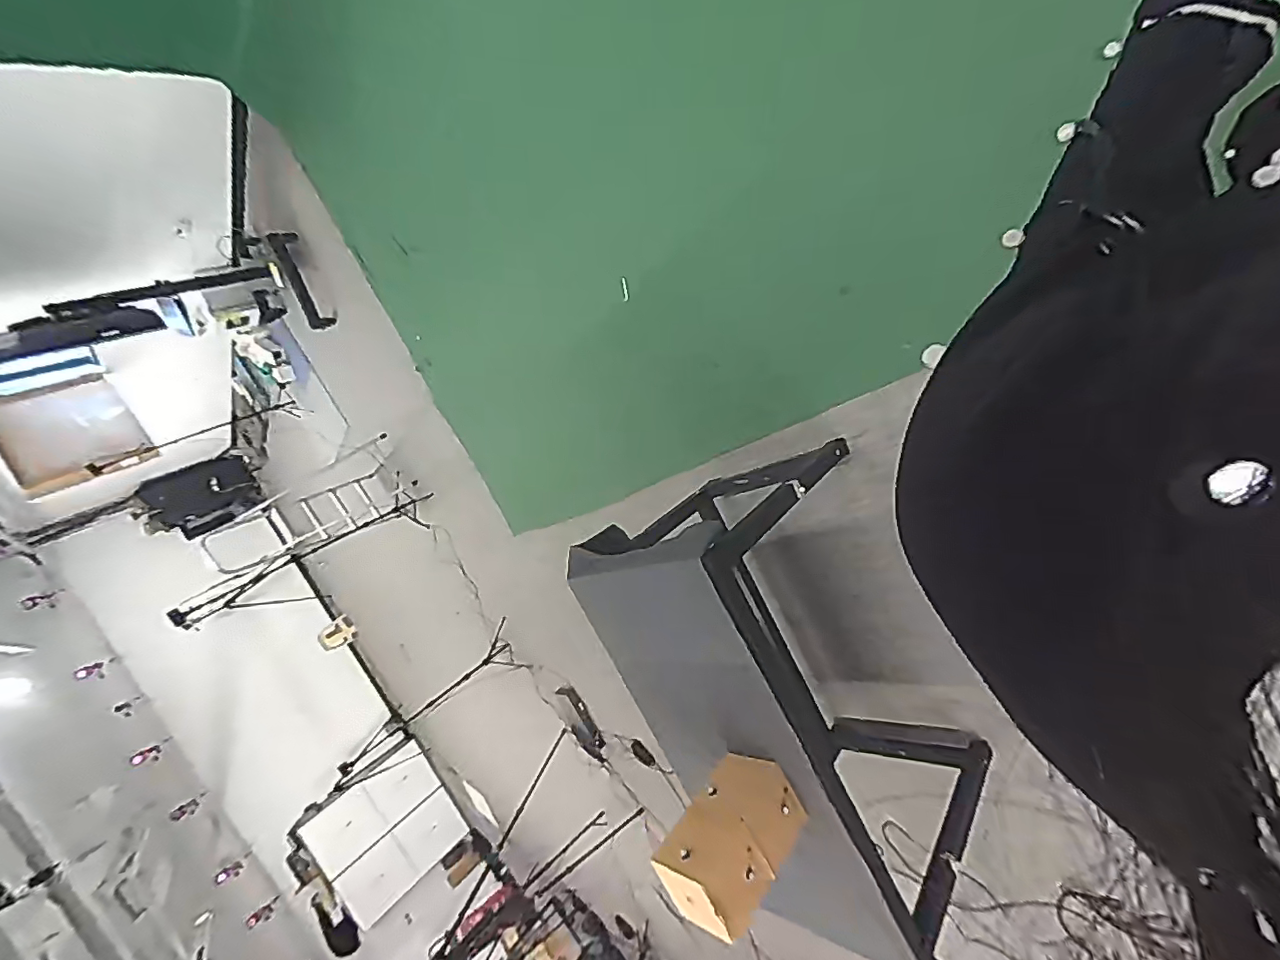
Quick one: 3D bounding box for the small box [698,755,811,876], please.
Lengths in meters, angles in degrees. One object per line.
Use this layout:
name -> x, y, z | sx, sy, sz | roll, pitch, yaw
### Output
small box -> 0.281, 0.804, 1.320 | 0.179, 0.176, 0.168 | -23, 98, 51

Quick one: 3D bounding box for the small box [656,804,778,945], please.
small box -> 0.174, 0.872, 1.219 | 0.179, 0.176, 0.168 | -23, 97, 51
